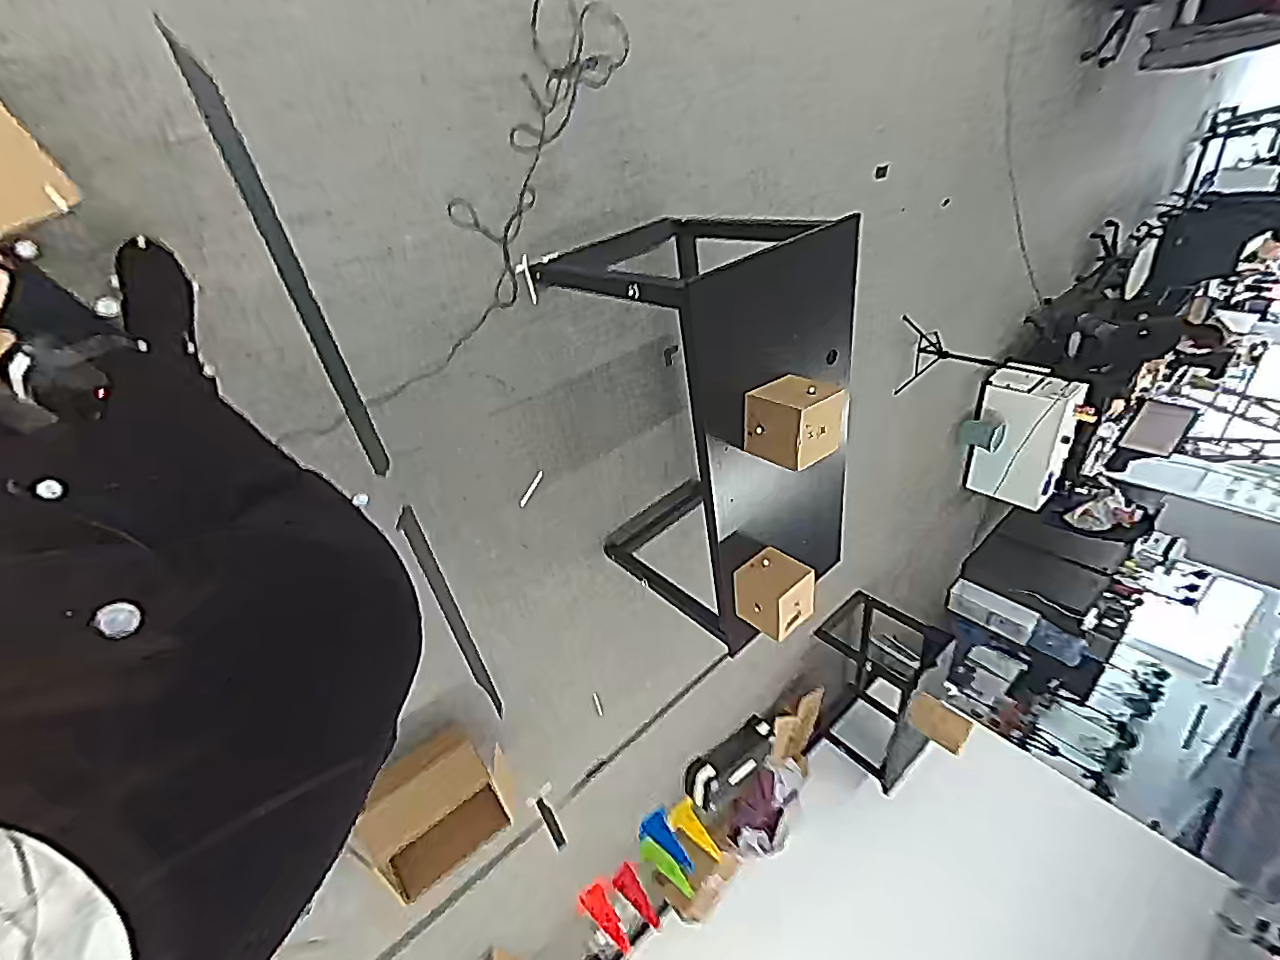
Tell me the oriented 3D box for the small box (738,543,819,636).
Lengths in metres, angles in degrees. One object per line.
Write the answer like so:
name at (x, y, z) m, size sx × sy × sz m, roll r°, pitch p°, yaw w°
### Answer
small box at (0.408, 0.319, 1.606) m, size 0.168 × 0.176 × 0.179 m, roll -30°, pitch 127°, yaw -29°

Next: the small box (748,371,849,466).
small box at (0.392, -0.161, 1.351) m, size 0.179 × 0.176 × 0.168 m, roll -26°, pitch 126°, yaw -31°
